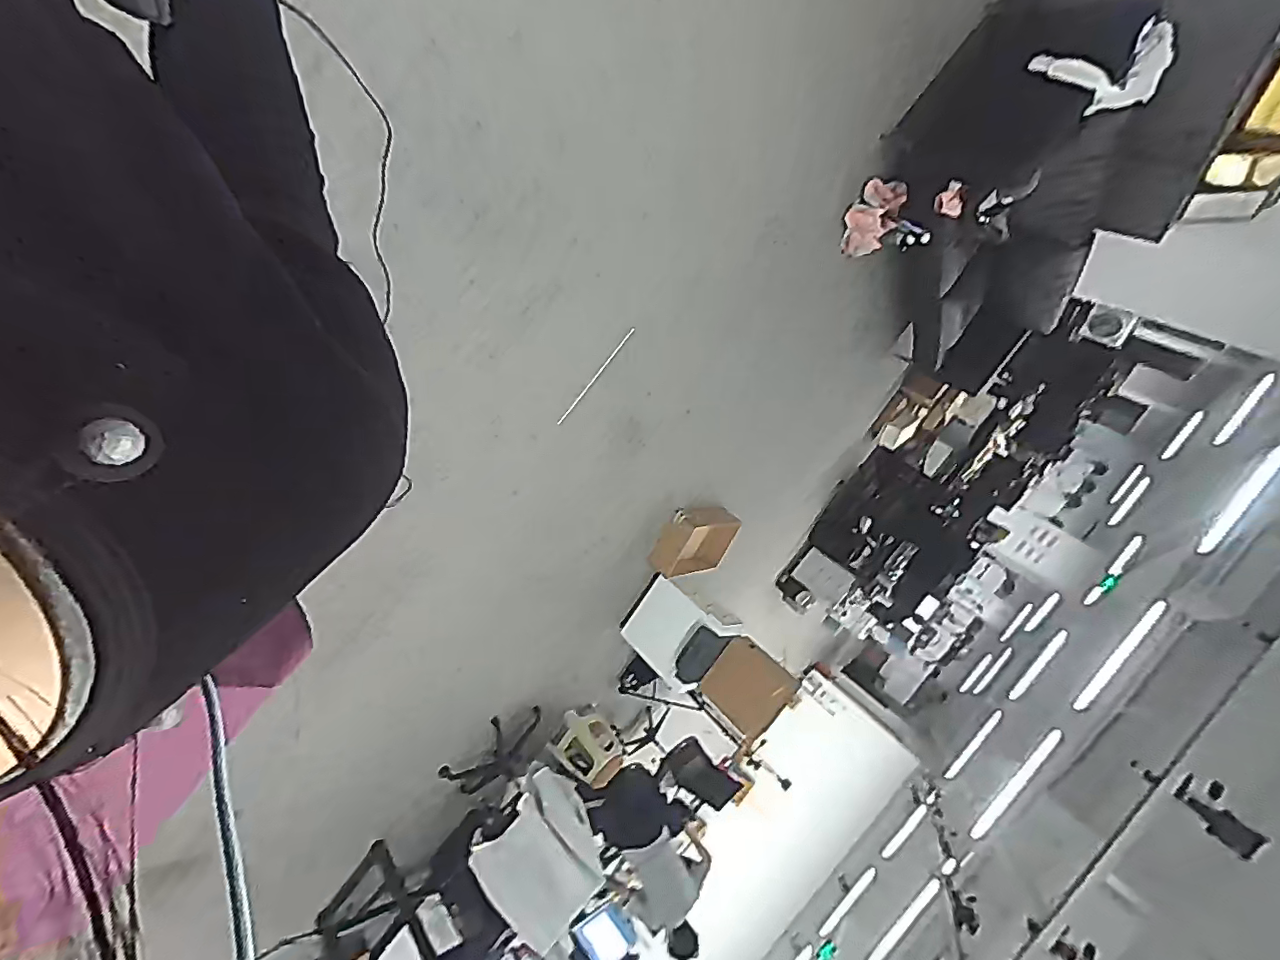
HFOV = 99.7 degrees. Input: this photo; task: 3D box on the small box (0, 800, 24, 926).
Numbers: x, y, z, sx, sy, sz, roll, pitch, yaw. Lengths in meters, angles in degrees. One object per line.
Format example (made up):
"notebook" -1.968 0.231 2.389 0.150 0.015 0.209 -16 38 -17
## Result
"small box" -0.913 0.509 0.645 0.168 0.176 0.179 -46 147 -9
